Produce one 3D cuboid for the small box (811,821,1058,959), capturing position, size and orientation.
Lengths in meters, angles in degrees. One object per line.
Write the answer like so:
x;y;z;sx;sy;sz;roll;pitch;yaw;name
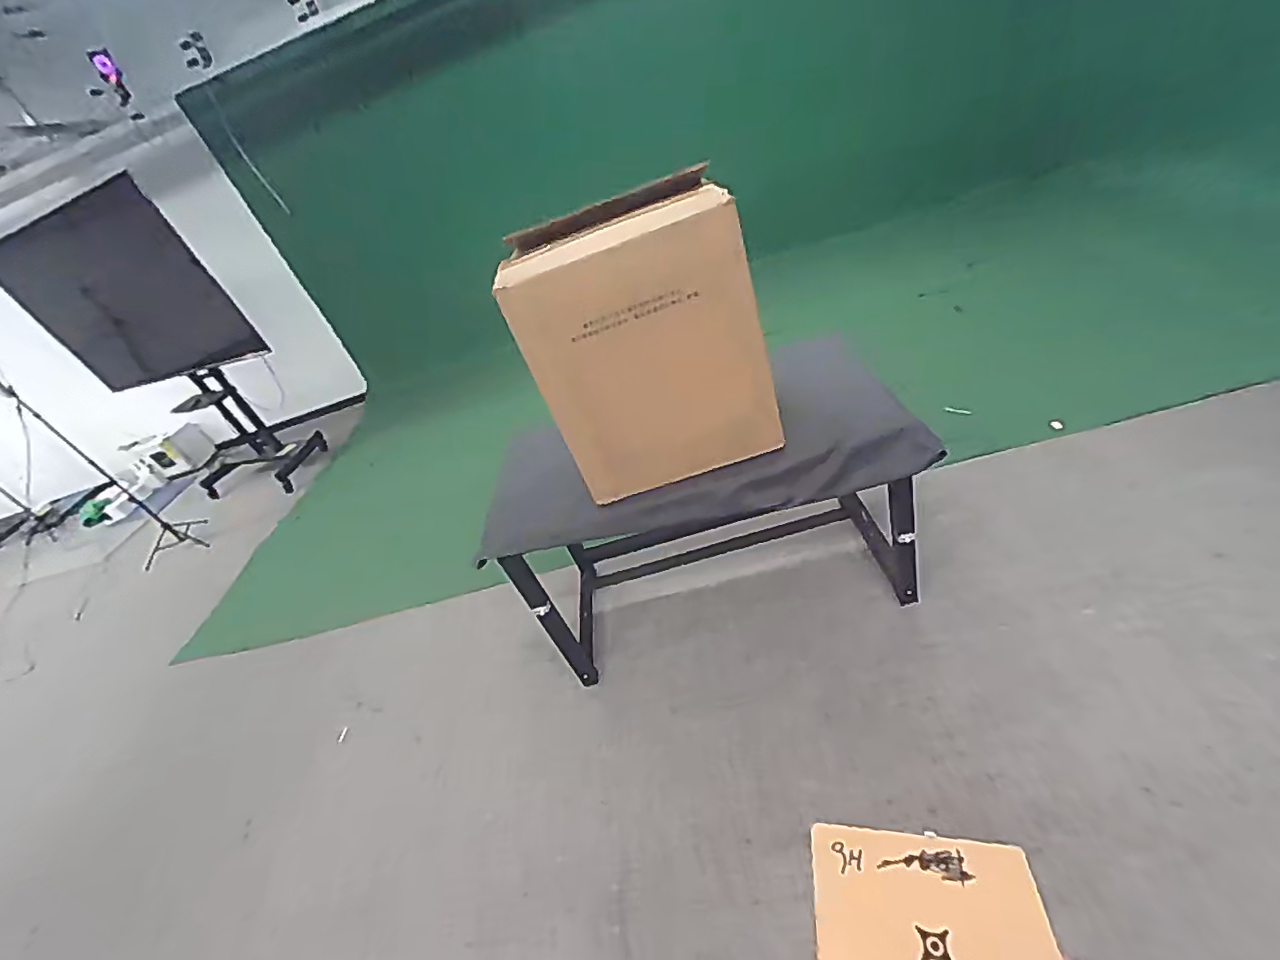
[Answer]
0.229;0.415;0.433;0.168;0.176;0.179;-3;31;15;small box
